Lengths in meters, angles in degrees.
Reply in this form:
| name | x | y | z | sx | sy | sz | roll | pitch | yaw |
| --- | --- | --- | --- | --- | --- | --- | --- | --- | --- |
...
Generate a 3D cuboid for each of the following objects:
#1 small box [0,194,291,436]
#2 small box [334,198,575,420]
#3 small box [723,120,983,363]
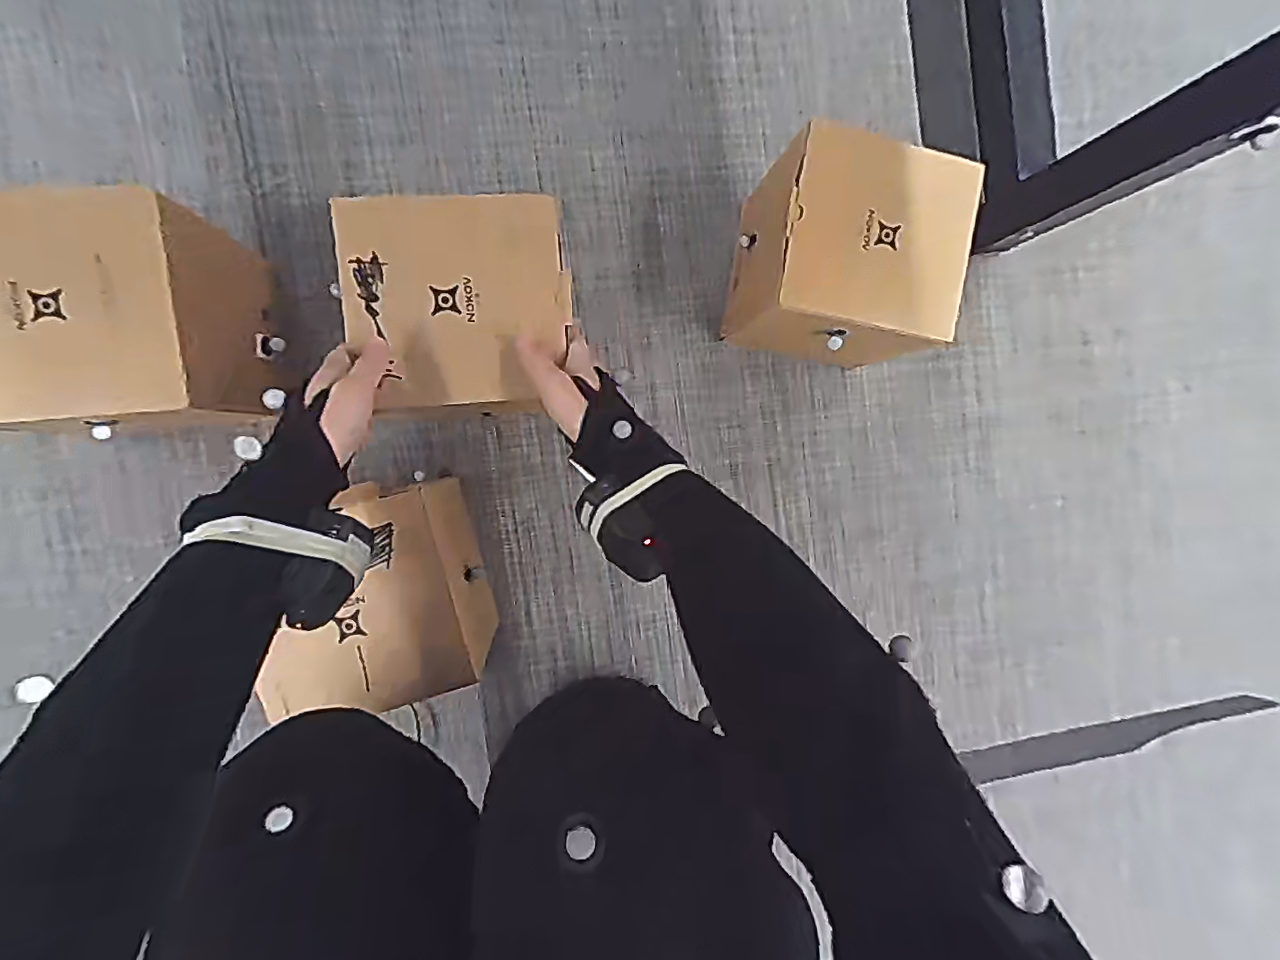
| name | x | y | z | sx | sy | sz | roll | pitch | yaw |
| --- | --- | --- | --- | --- | --- | --- | --- | --- | --- |
| small box | -0.445 | -0.127 | 0.471 | 0.179 | 0.176 | 0.168 | -6 | 95 | -9 |
| small box | -0.158 | -0.145 | 0.511 | 0.179 | 0.176 | 0.168 | -4 | 94 | -9 |
| small box | 0.203 | -0.223 | 0.560 | 0.179 | 0.176 | 0.168 | 9 | 92 | -8 |
